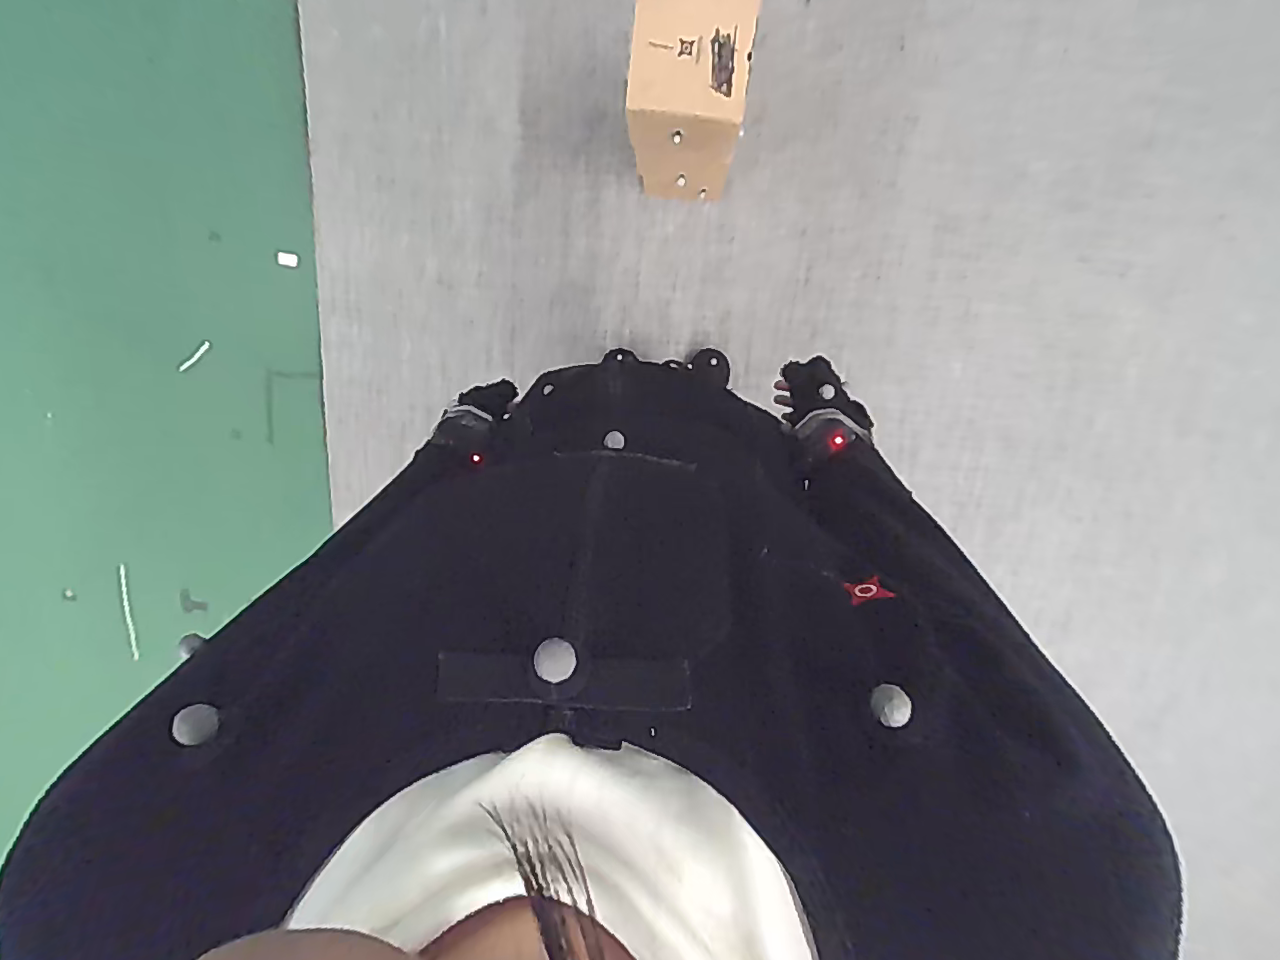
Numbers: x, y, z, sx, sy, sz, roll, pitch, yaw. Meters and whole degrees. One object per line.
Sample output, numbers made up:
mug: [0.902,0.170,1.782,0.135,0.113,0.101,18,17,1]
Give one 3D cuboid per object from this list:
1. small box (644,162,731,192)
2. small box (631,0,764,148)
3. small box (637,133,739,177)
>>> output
small box: [0.108,-0.729,1.157,0.179,0.176,0.168,6,105,3]
small box: [0.083,-0.638,0.843,0.179,0.176,0.168,5,106,1]
small box: [0.096,-0.680,1.001,0.179,0.176,0.168,10,106,0]
